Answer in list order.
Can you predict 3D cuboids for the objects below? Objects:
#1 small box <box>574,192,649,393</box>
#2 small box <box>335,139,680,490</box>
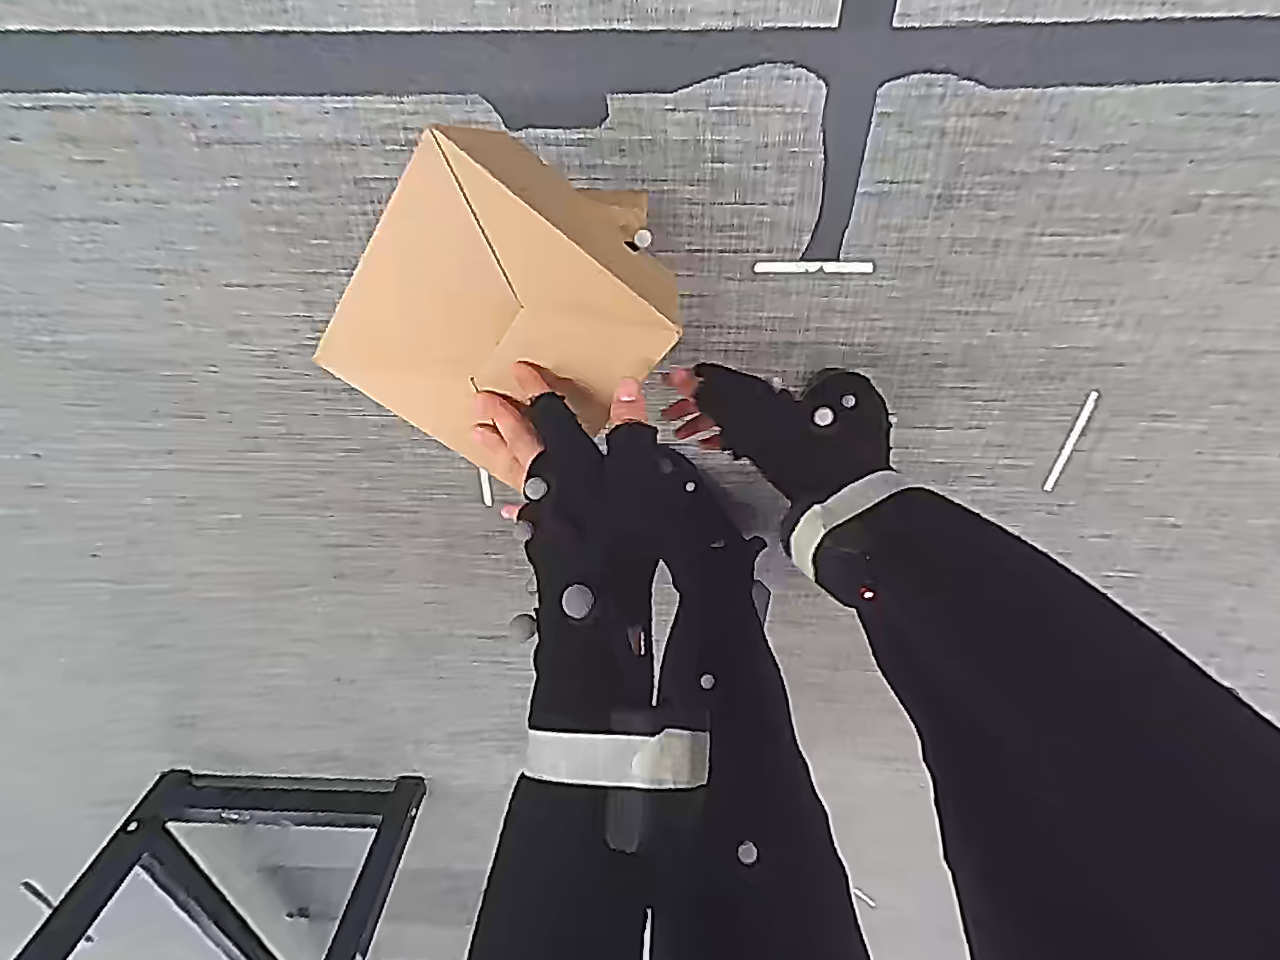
[{"bbox_3d":[-0.082,-0.202,0.561,0.179,0.176,0.168,4,121,0],"label":"small box"},{"bbox_3d":[-0.086,-0.124,0.413,0.179,0.176,0.168,34,116,-18],"label":"small box"}]
